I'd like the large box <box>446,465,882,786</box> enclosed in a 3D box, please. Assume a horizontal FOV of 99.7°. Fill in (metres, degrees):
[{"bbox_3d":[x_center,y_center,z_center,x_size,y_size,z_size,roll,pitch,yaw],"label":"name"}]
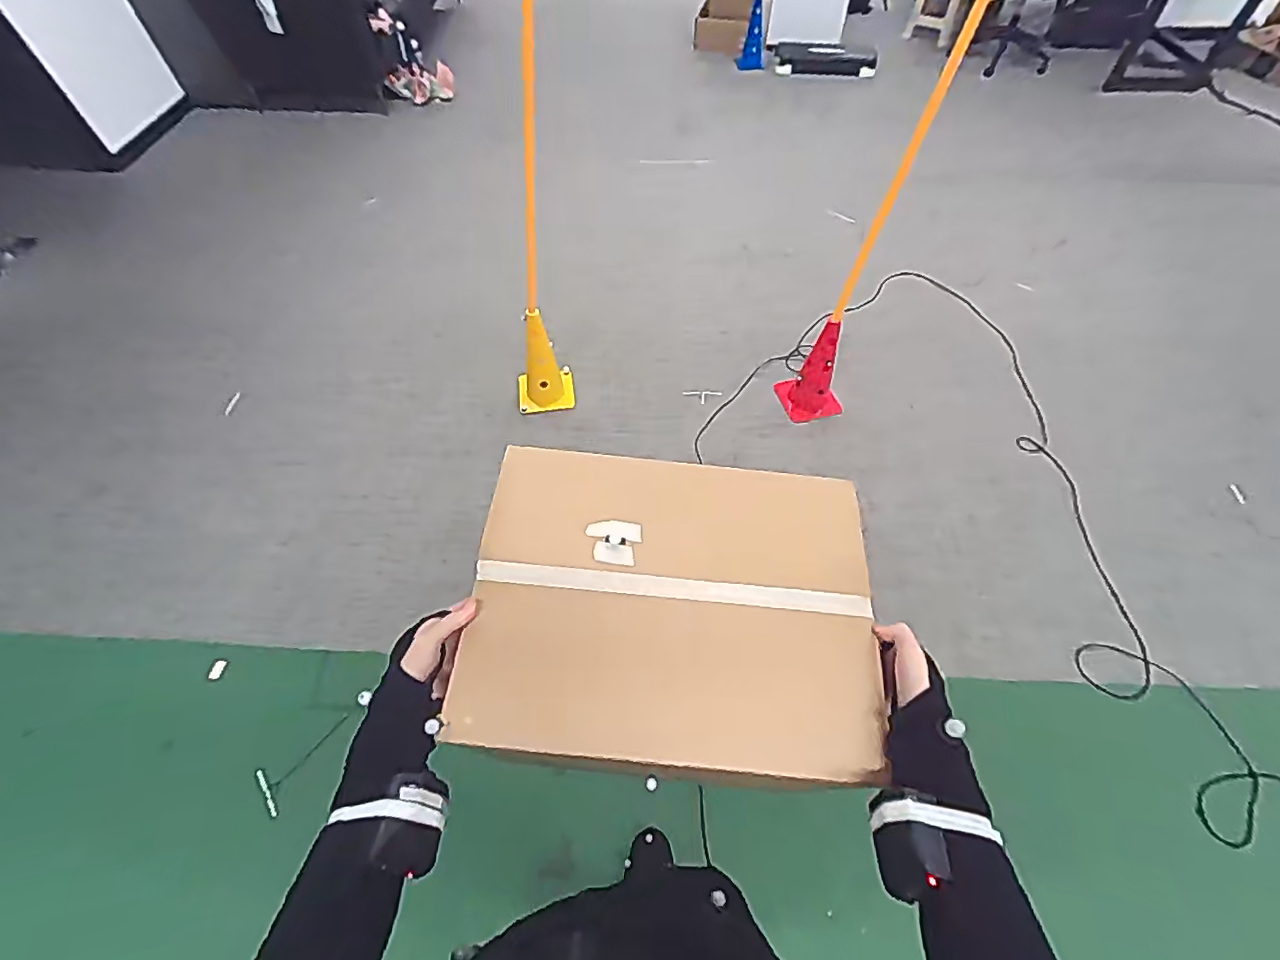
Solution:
[{"bbox_3d":[0.027,0.202,0.689,0.408,0.320,0.320,5,58,0],"label":"large box"}]
